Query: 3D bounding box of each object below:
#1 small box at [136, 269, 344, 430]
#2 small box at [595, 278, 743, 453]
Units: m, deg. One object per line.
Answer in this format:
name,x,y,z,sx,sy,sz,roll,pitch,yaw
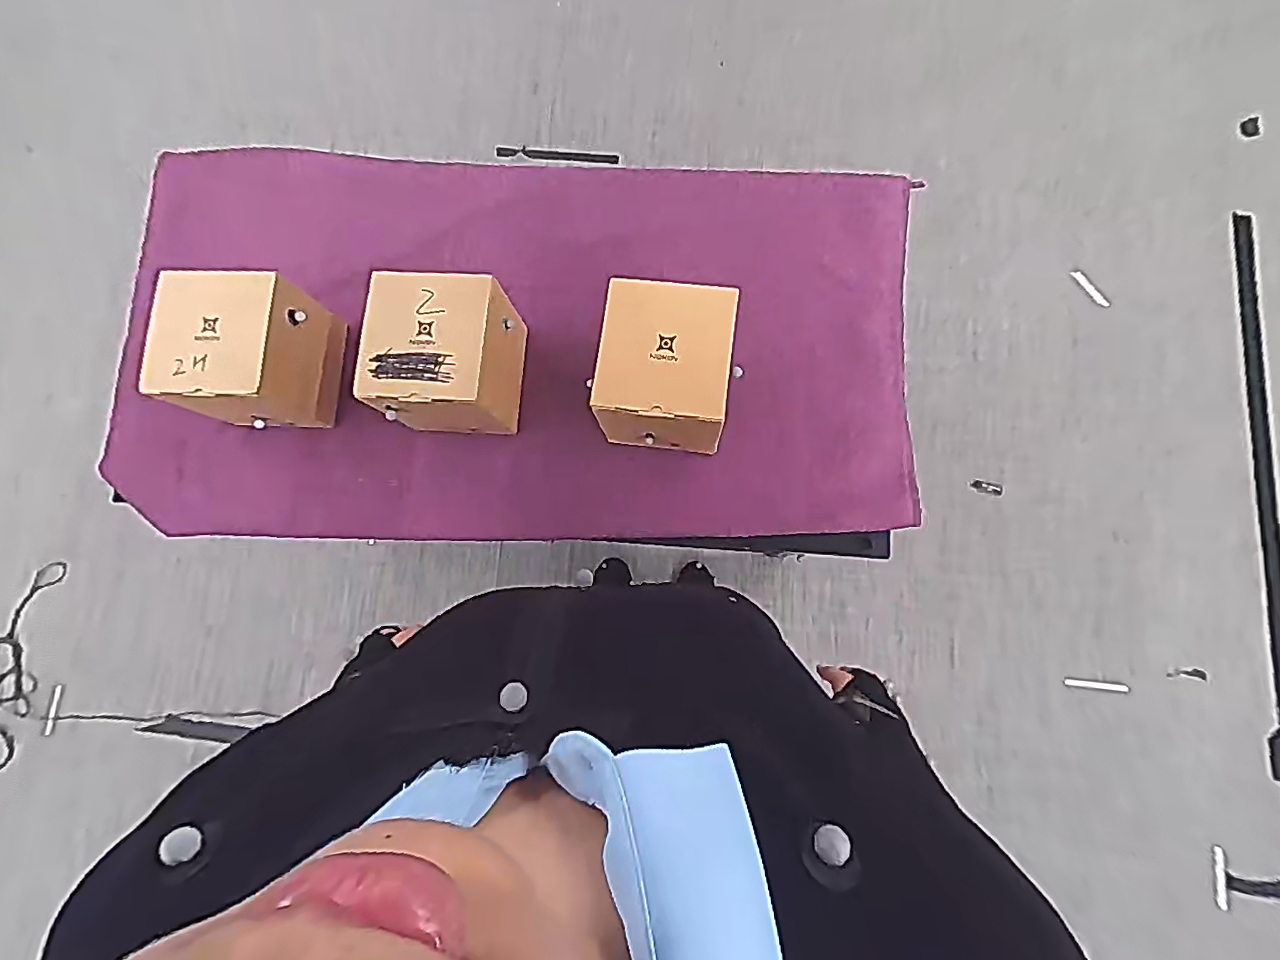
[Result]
small box,-0.560,-0.181,0.784,0.168,0.176,0.179,2,81,3
small box,0.041,-0.147,0.739,0.168,0.176,0.179,7,81,5
